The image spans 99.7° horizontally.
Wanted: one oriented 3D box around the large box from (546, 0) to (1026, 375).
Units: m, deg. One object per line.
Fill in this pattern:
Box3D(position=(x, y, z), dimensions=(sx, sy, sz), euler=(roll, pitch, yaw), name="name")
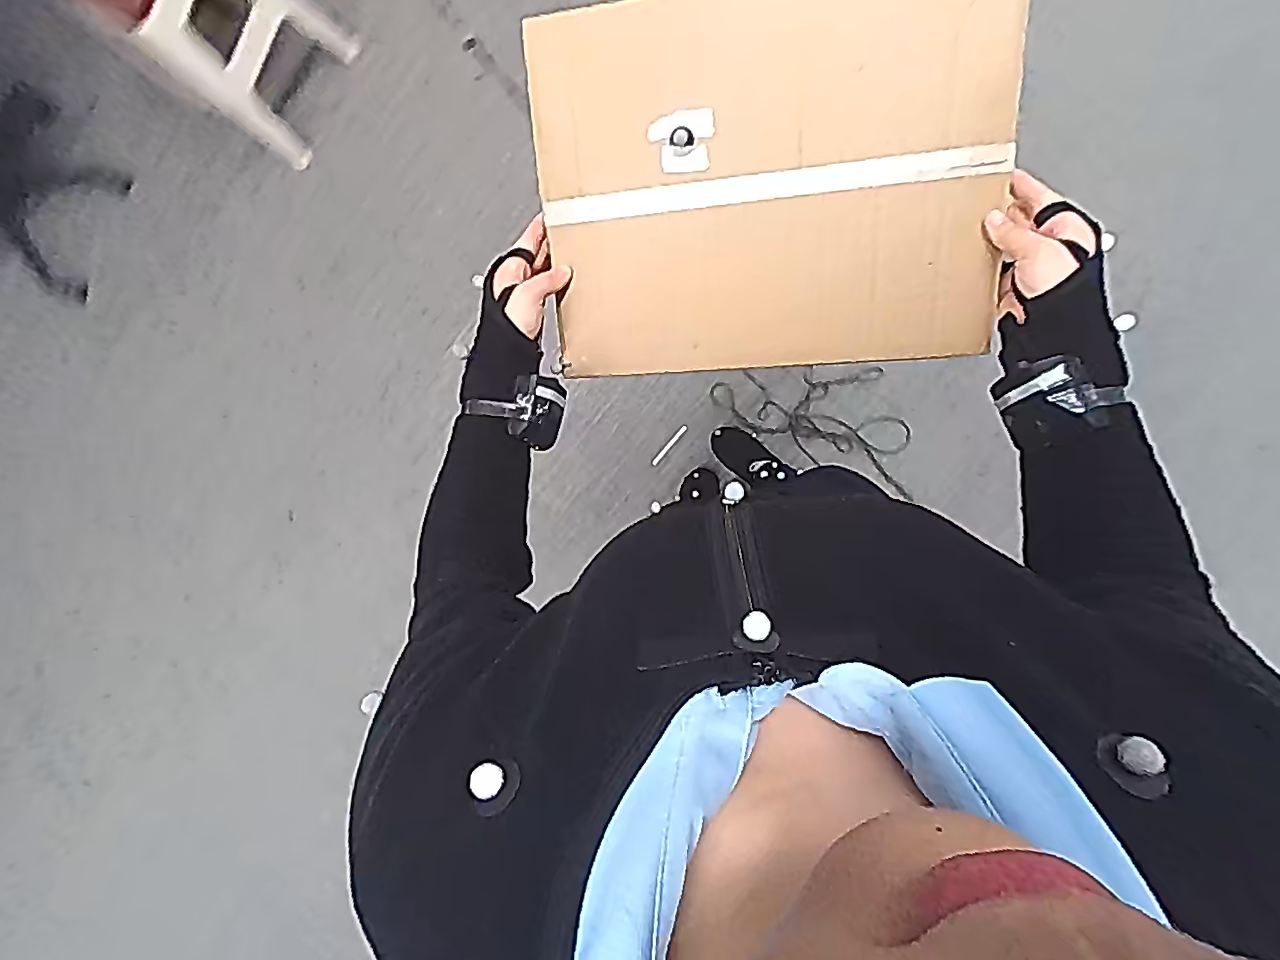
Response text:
Box3D(position=(0.146, -0.306, 0.636), dimensions=(0.408, 0.320, 0.320), euler=(0, 107, 11), name="large box")
